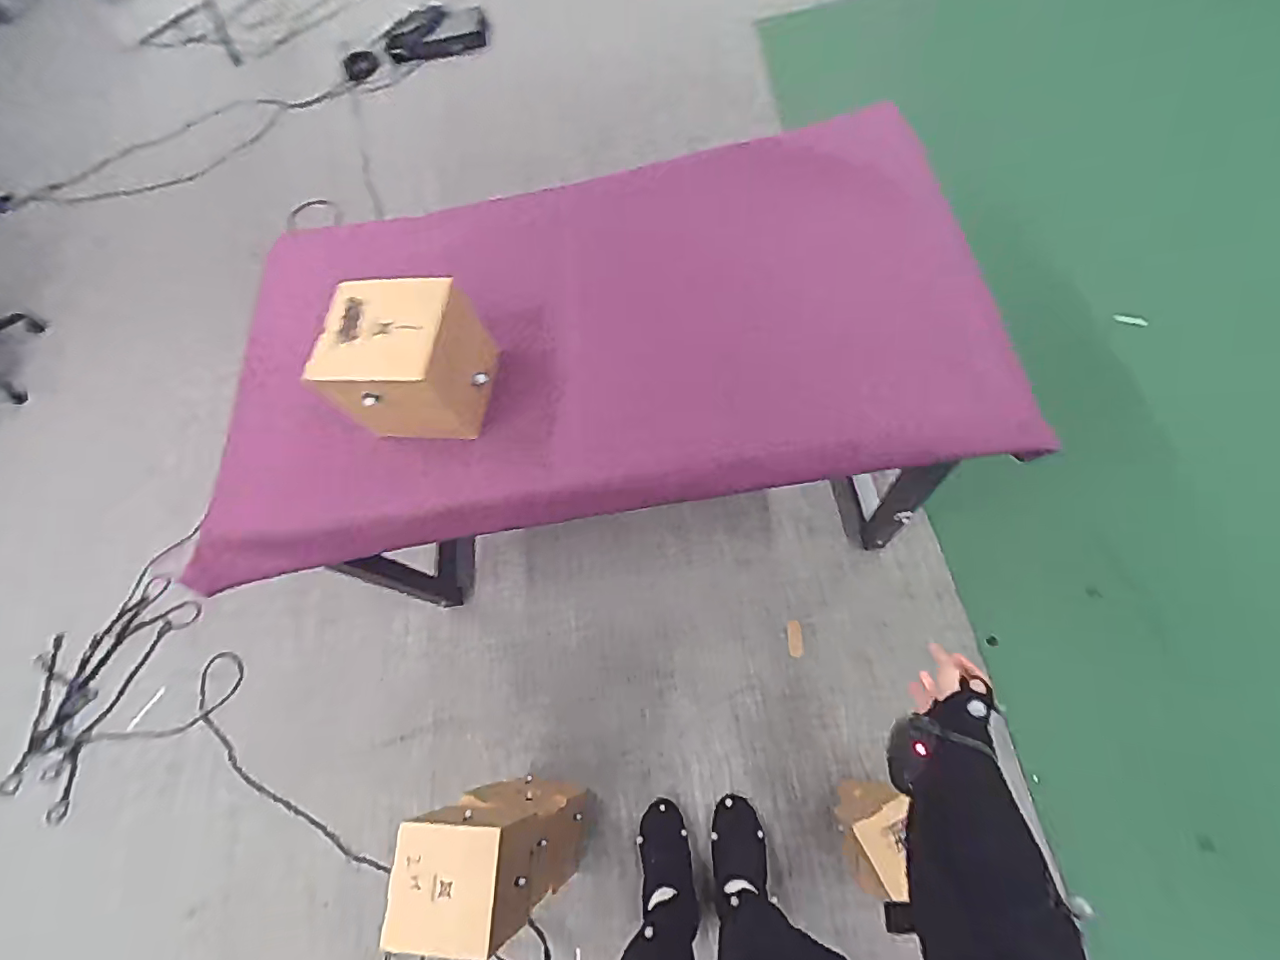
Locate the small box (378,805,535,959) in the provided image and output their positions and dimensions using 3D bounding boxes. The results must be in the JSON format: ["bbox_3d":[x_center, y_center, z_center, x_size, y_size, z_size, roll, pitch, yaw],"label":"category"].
[{"bbox_3d":[-0.286,0.642,0.887,0.179,0.176,0.168,-2,66,11],"label":"small box"}]

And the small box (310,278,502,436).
[{"bbox_3d":[-0.329,-0.174,0.797,0.179,0.176,0.168,3,68,10],"label":"small box"}]

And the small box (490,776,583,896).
[{"bbox_3d":[-0.232,0.765,1.184,0.168,0.176,0.179,5,69,13],"label":"small box"}]

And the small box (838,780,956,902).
[{"bbox_3d":[0.498,0.706,1.077,0.179,0.176,0.168,-1,68,10],"label":"small box"}]
